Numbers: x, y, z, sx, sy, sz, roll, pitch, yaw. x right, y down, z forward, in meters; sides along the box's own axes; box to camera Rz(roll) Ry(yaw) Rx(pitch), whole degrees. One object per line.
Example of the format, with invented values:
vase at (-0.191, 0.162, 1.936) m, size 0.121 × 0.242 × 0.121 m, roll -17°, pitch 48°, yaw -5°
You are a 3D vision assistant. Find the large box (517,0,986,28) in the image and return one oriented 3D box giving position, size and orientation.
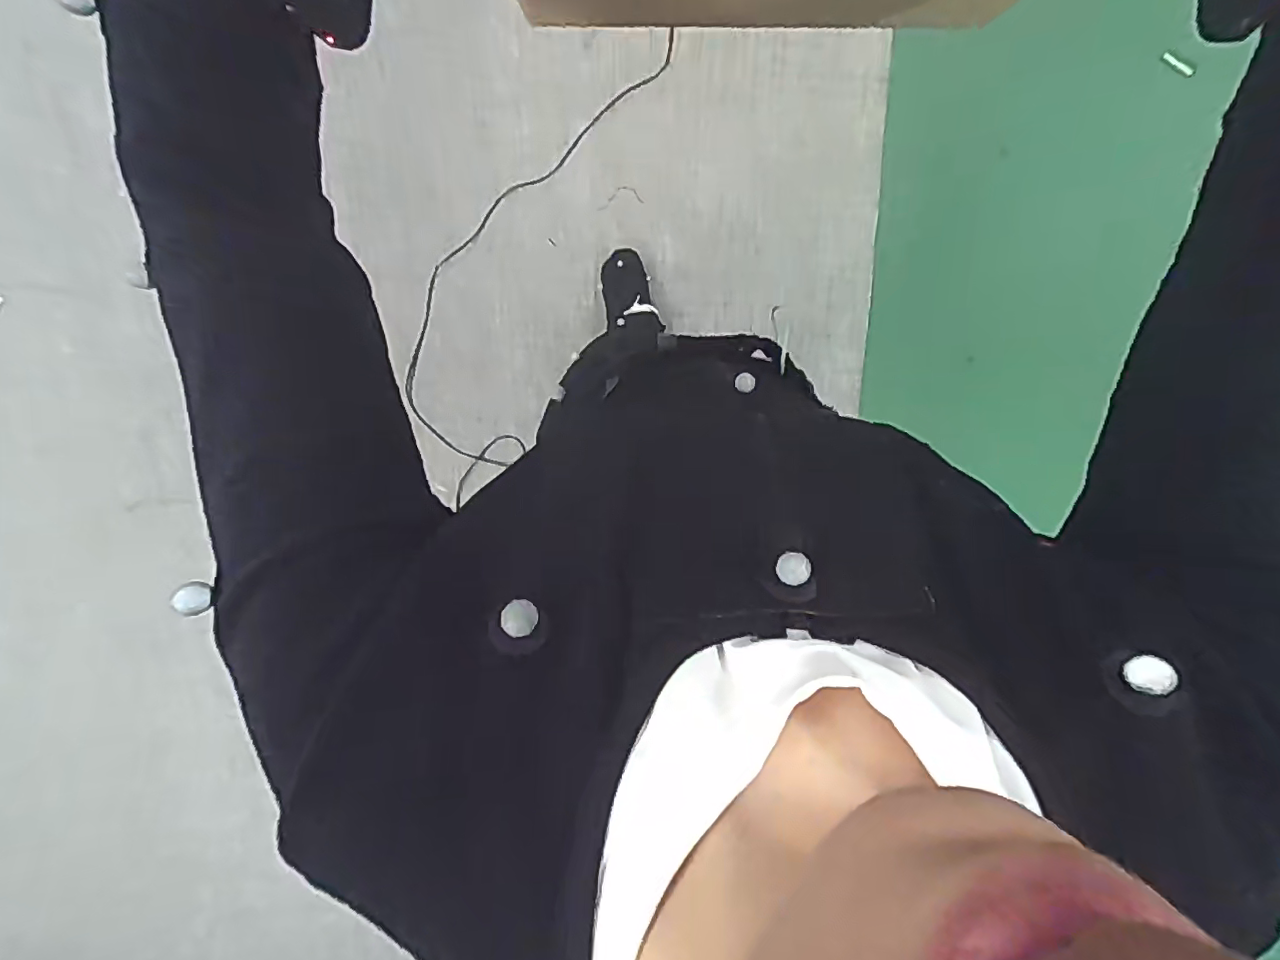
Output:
large box at (0.090, -0.501, 0.288) m, size 0.408 × 0.320 × 0.320 m, roll 0°, pitch 109°, yaw 1°
